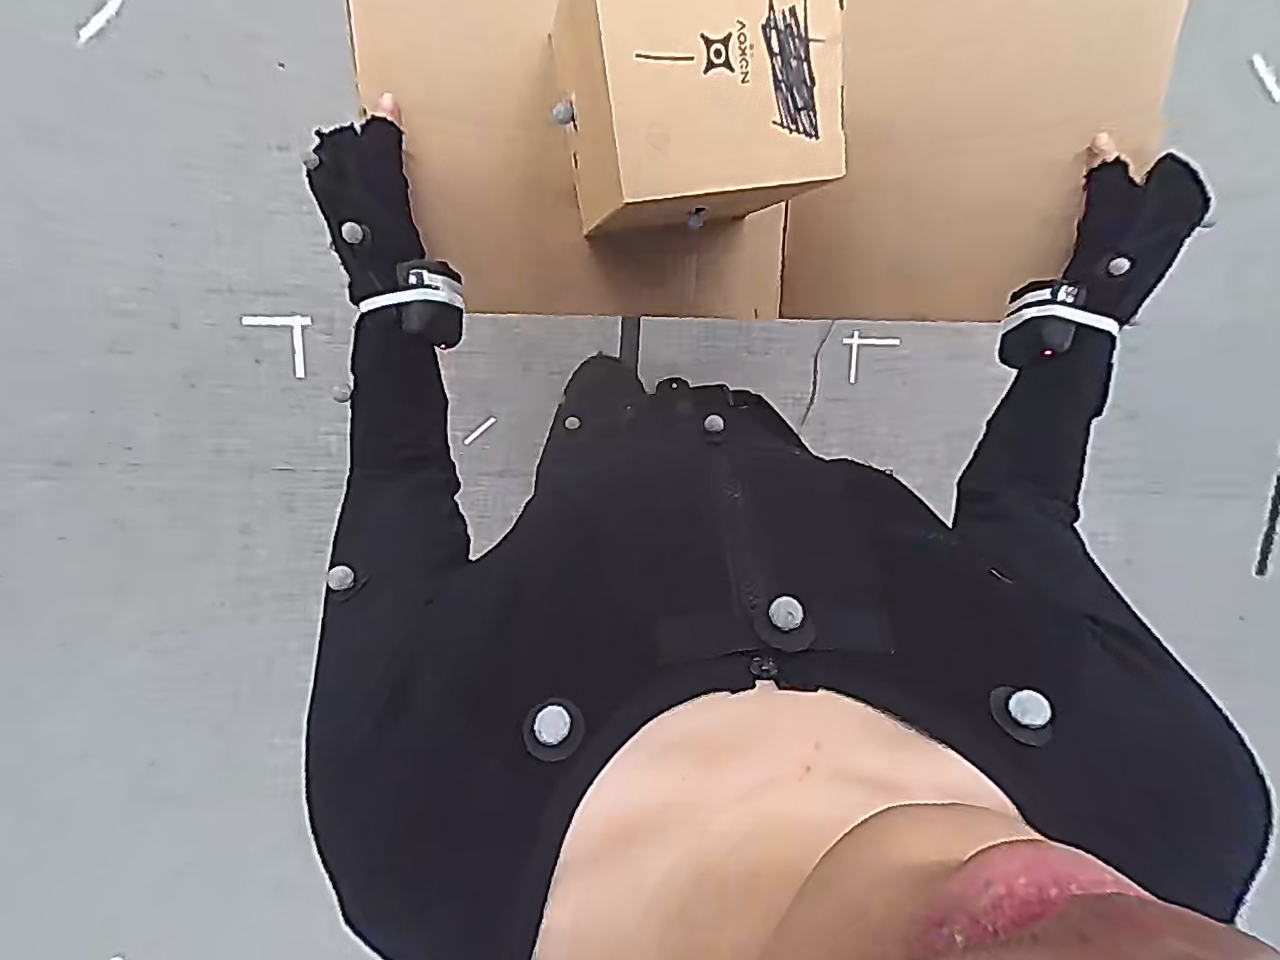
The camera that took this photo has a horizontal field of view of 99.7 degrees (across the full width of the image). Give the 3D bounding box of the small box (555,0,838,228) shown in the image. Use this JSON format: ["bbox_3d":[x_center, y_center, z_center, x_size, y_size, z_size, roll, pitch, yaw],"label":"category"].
[{"bbox_3d":[0.038,-0.315,0.445,0.179,0.176,0.168,-13,109,-11],"label":"small box"}]
